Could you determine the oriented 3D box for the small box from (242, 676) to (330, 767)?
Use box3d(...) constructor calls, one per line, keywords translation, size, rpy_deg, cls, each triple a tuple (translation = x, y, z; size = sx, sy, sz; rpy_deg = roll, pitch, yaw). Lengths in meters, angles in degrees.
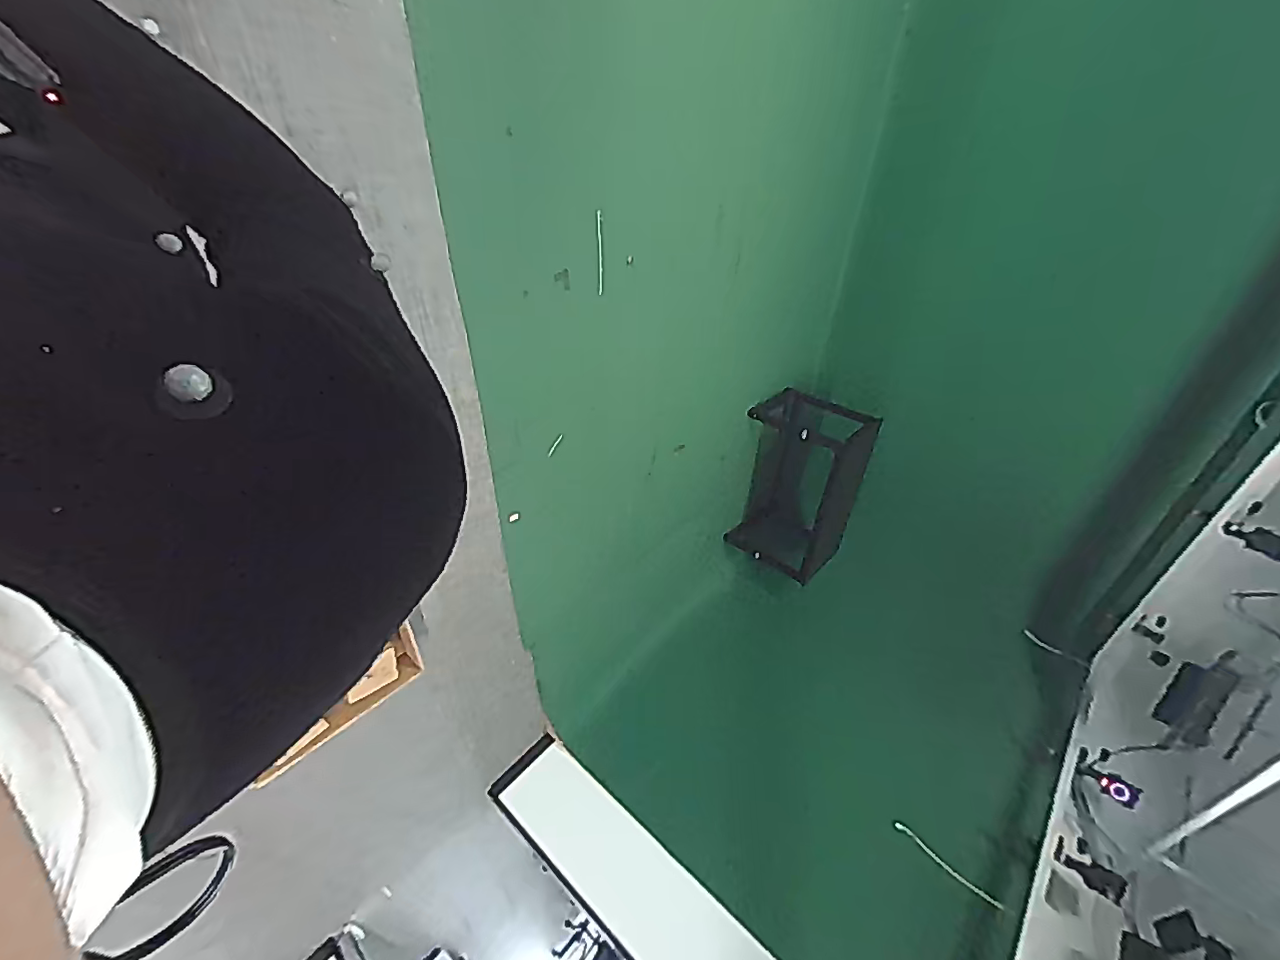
box3d(translation=(-1.172, 0.791, 1.784), size=(0.179, 0.176, 0.168), rpy_deg=(-37, 140, -34), cls="small box")
